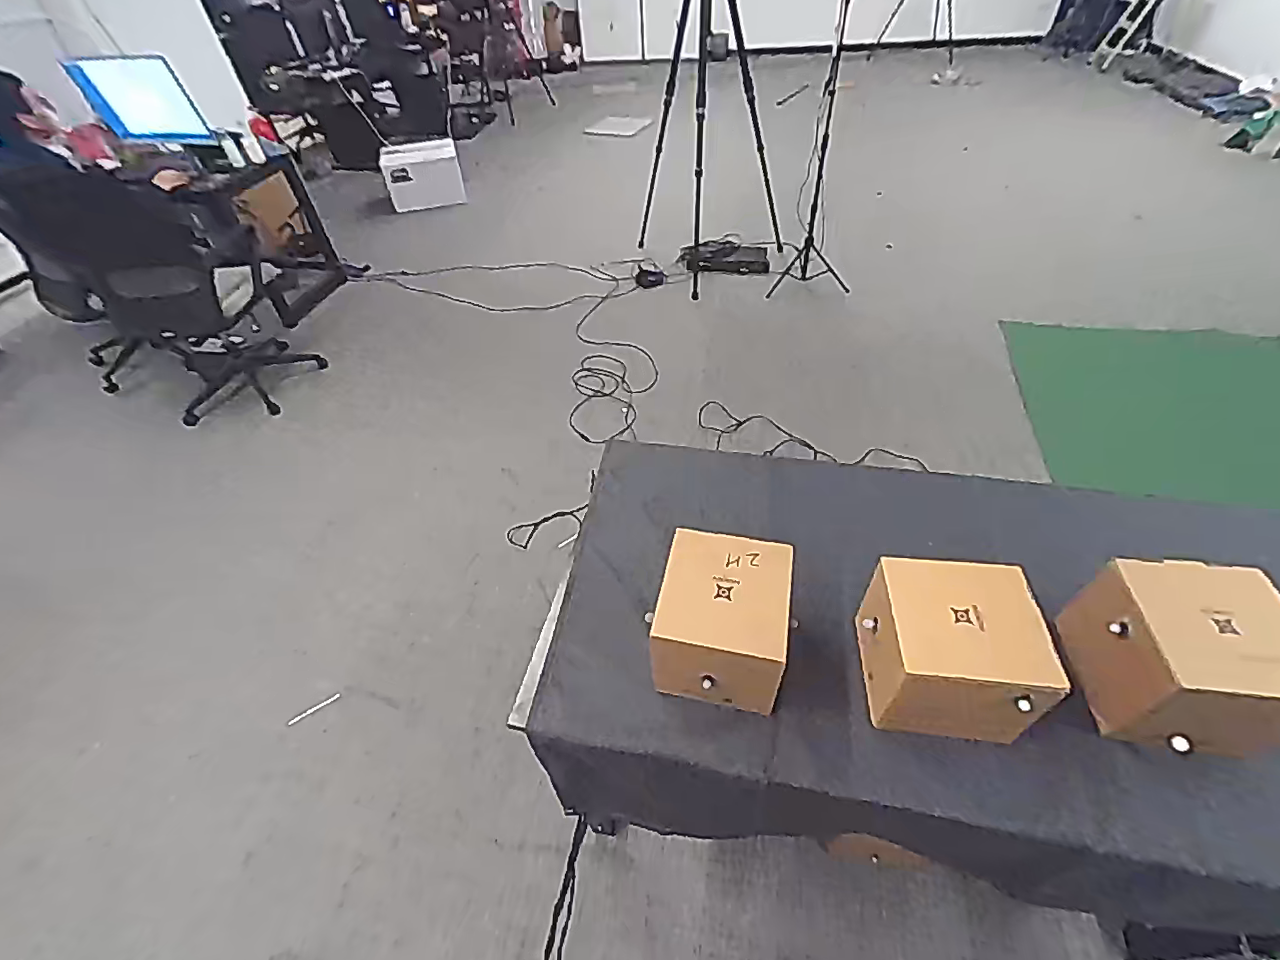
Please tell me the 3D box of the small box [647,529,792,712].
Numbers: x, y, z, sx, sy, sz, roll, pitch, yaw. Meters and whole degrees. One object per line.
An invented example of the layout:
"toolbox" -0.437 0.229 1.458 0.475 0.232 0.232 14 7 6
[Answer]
"small box" 0.112 0.198 0.754 0.168 0.176 0.179 9 48 12

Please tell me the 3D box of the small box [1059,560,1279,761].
"small box" 0.678 0.226 0.683 0.168 0.176 0.179 4 47 10

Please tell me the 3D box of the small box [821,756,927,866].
"small box" 0.513 0.742 1.209 0.179 0.176 0.168 5 47 10

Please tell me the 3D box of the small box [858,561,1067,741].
"small box" 0.397 0.225 0.710 0.179 0.176 0.168 3 47 8
